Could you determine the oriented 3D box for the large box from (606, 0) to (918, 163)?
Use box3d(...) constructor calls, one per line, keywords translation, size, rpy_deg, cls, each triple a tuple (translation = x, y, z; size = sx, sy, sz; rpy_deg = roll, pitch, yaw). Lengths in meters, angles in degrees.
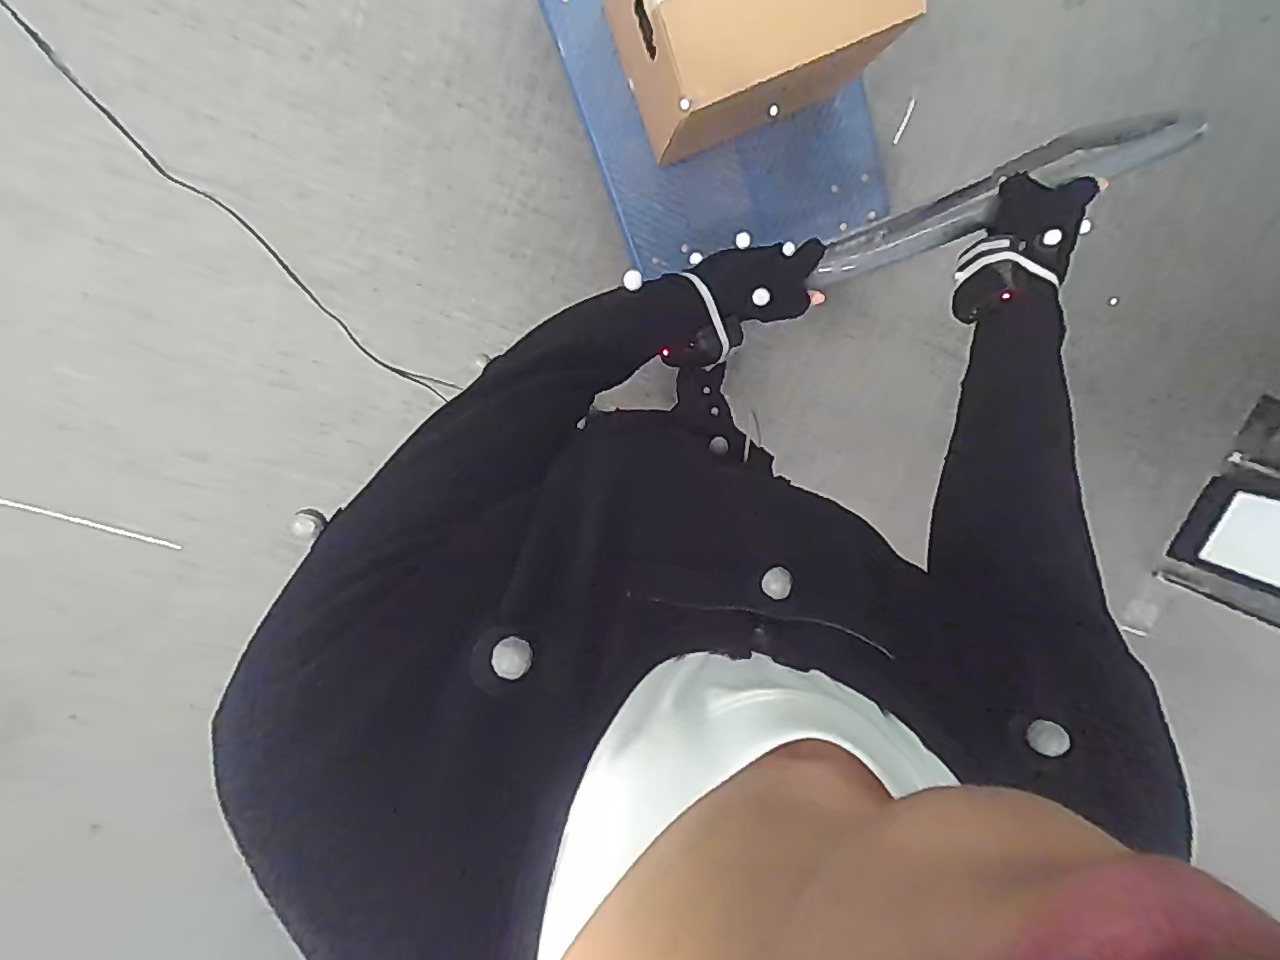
box3d(translation=(0.186, -0.830, 0.947), size=(0.408, 0.320, 0.320), rpy_deg=(-23, 107, 1), cls="large box")
